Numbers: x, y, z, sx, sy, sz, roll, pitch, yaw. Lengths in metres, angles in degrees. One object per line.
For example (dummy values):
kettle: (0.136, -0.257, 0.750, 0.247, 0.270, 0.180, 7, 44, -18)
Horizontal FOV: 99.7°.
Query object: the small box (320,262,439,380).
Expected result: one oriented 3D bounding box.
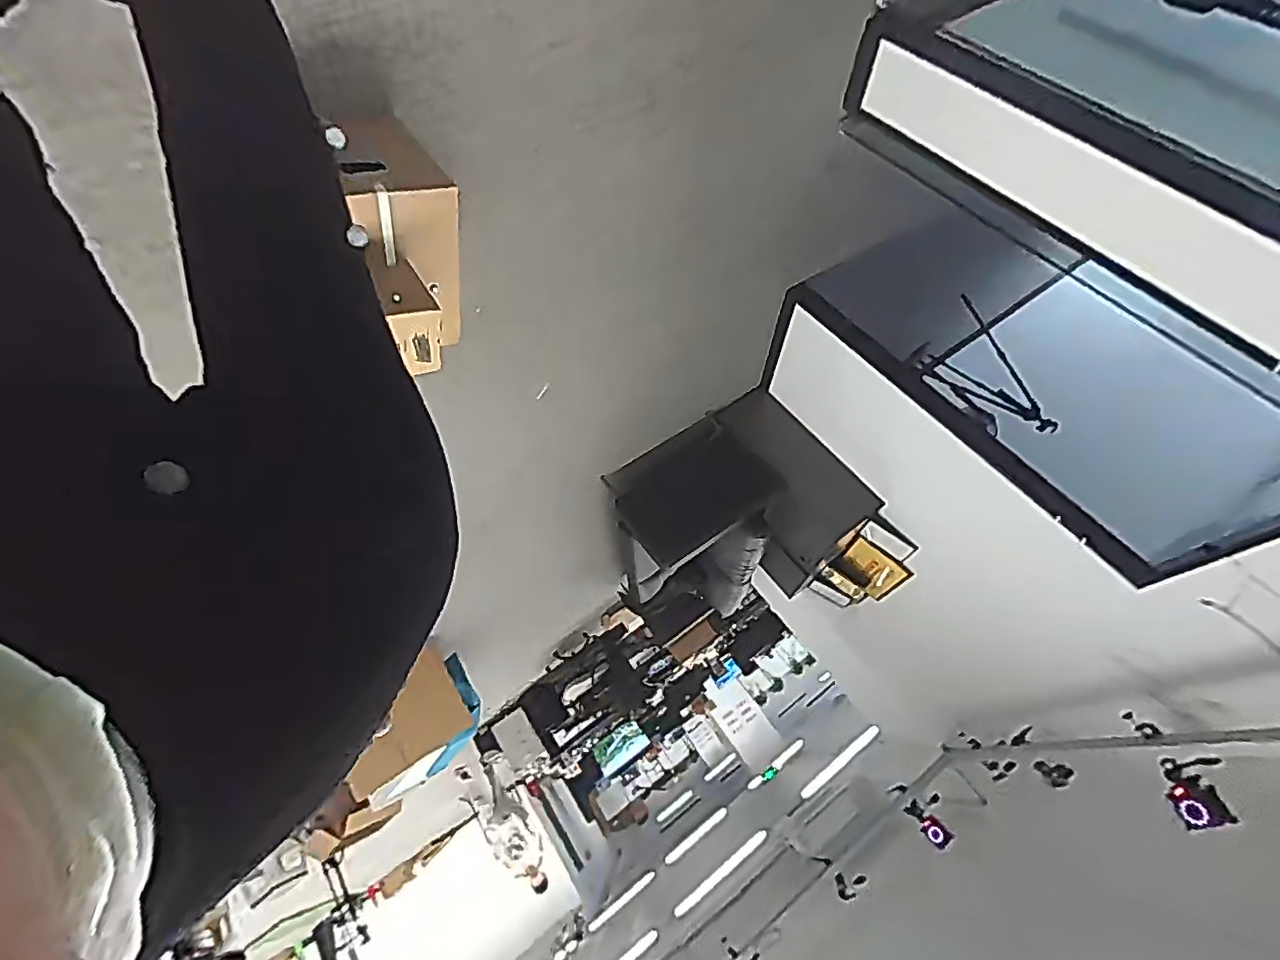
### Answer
small box: (-0.549, -0.344, 1.150, 0.179, 0.176, 0.168, -21, 152, -33)
